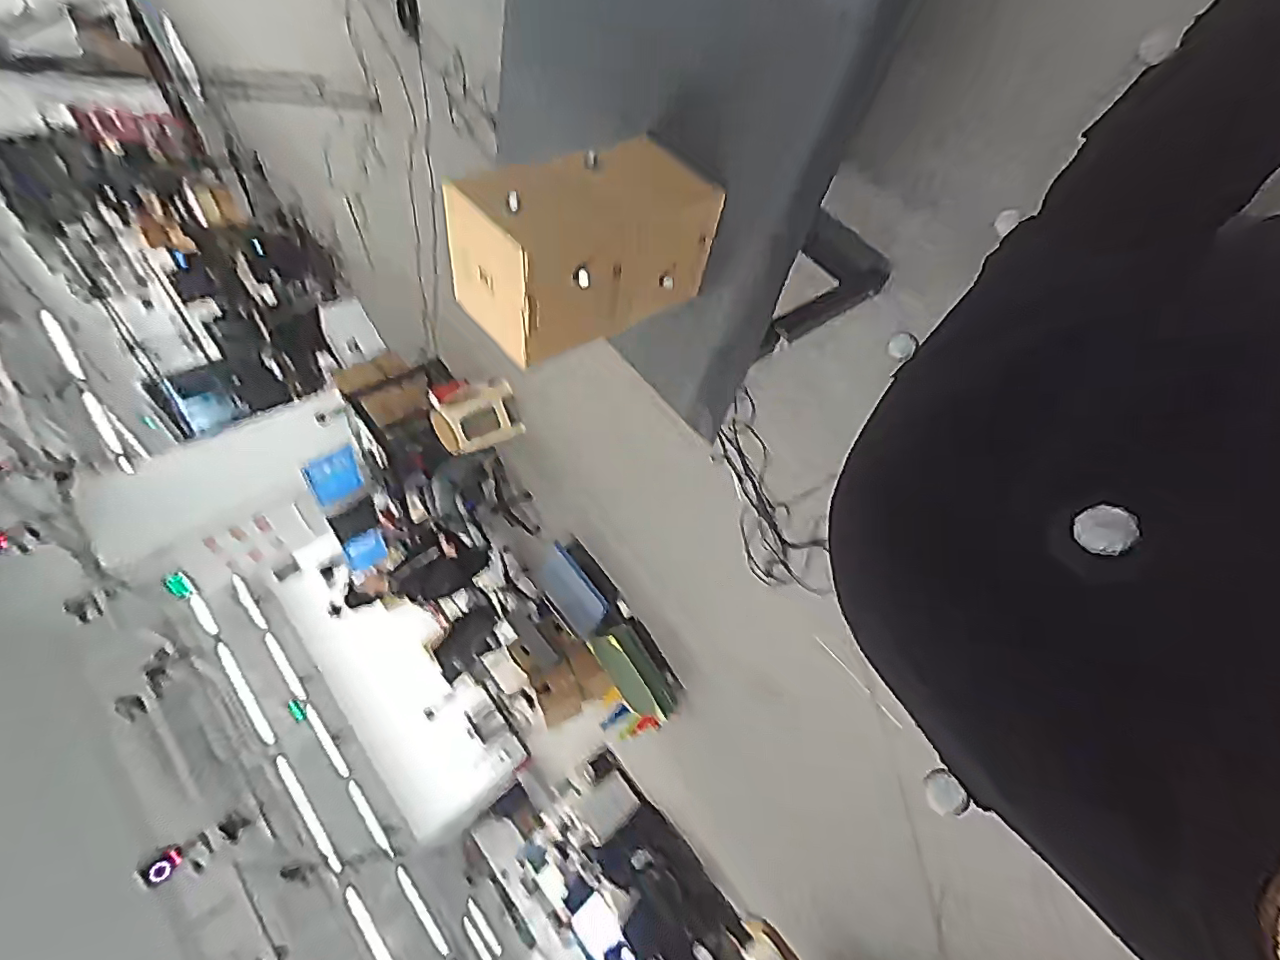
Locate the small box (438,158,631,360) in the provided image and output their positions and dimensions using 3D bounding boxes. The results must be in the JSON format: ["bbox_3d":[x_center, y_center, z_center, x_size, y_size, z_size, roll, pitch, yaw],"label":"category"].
[{"bbox_3d":[-0.134,-0.292,0.700,0.179,0.176,0.168,46,146,22],"label":"small box"}]

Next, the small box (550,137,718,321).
[{"bbox_3d":[-0.015,-0.368,0.782,0.179,0.176,0.168,46,147,20],"label":"small box"}]
